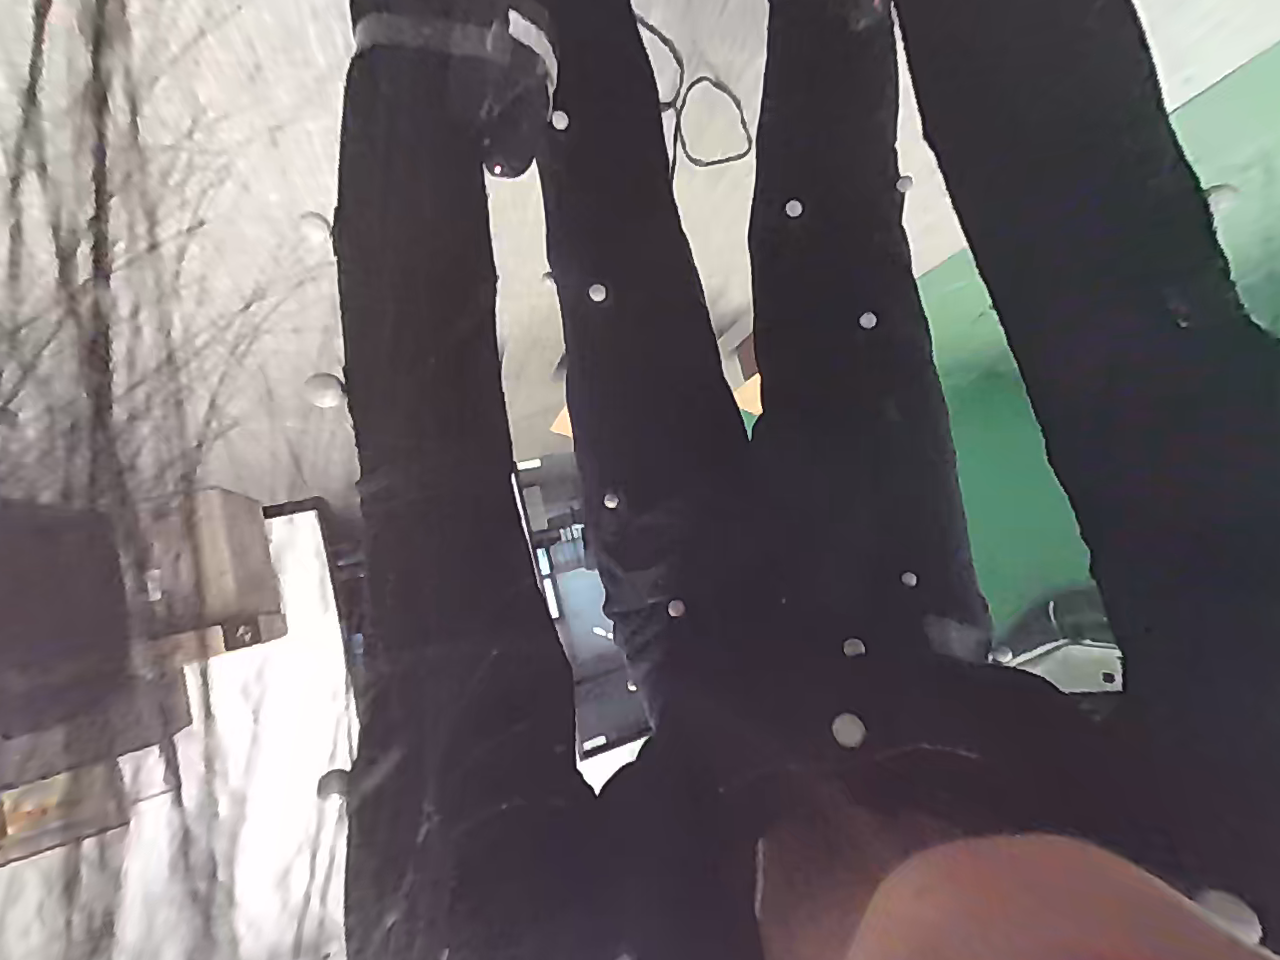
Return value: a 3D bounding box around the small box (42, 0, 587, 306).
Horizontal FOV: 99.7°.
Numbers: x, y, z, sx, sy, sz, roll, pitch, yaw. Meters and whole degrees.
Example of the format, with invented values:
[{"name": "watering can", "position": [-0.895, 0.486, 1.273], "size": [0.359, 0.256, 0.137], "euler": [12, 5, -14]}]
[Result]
[{"name": "small box", "position": [-0.137, -0.212, 0.256], "size": [0.176, 0.179, 0.168], "euler": [-18, 175, -12]}]
